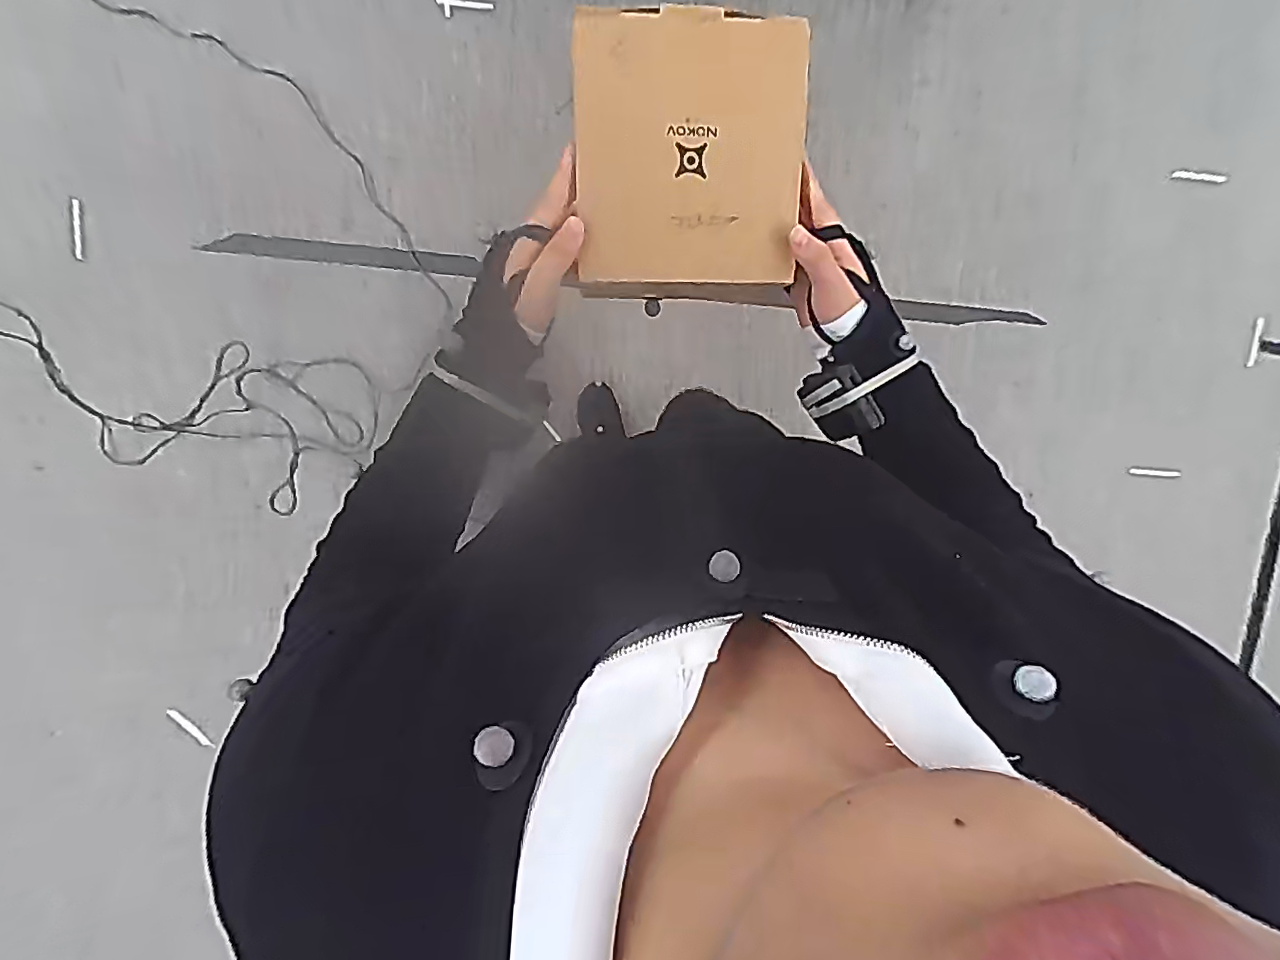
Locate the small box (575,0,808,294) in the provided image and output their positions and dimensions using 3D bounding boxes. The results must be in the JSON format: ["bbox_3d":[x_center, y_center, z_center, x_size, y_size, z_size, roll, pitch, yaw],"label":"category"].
[{"bbox_3d":[0.028,-0.262,0.463,0.168,0.176,0.179,-1,104,-5],"label":"small box"}]
